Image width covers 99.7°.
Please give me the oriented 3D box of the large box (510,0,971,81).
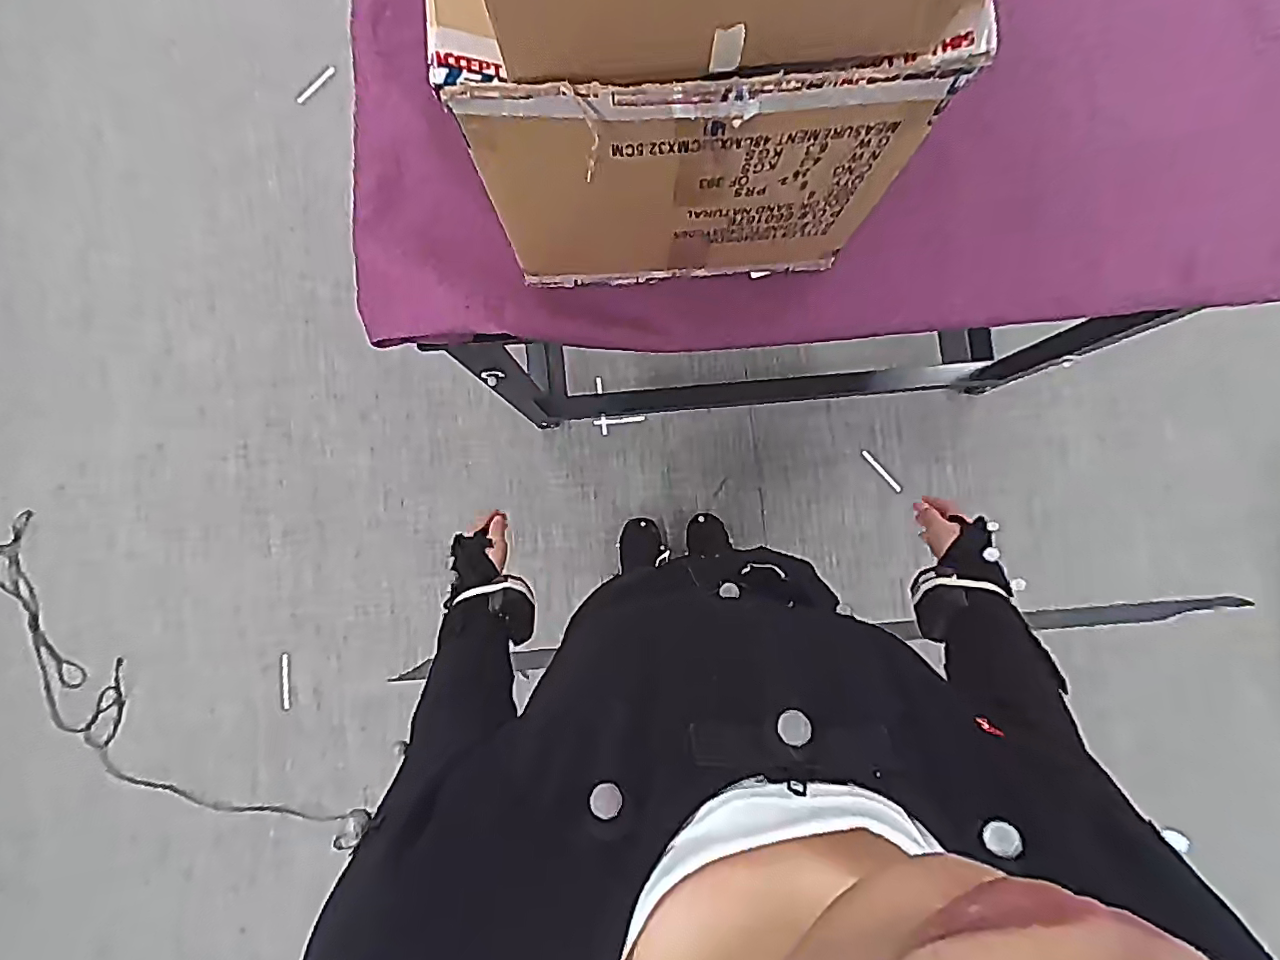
[{"bbox_3d":[0.051,-0.503,0.250,0.320,0.320,0.408,-6,86,1],"label":"large box"}]
